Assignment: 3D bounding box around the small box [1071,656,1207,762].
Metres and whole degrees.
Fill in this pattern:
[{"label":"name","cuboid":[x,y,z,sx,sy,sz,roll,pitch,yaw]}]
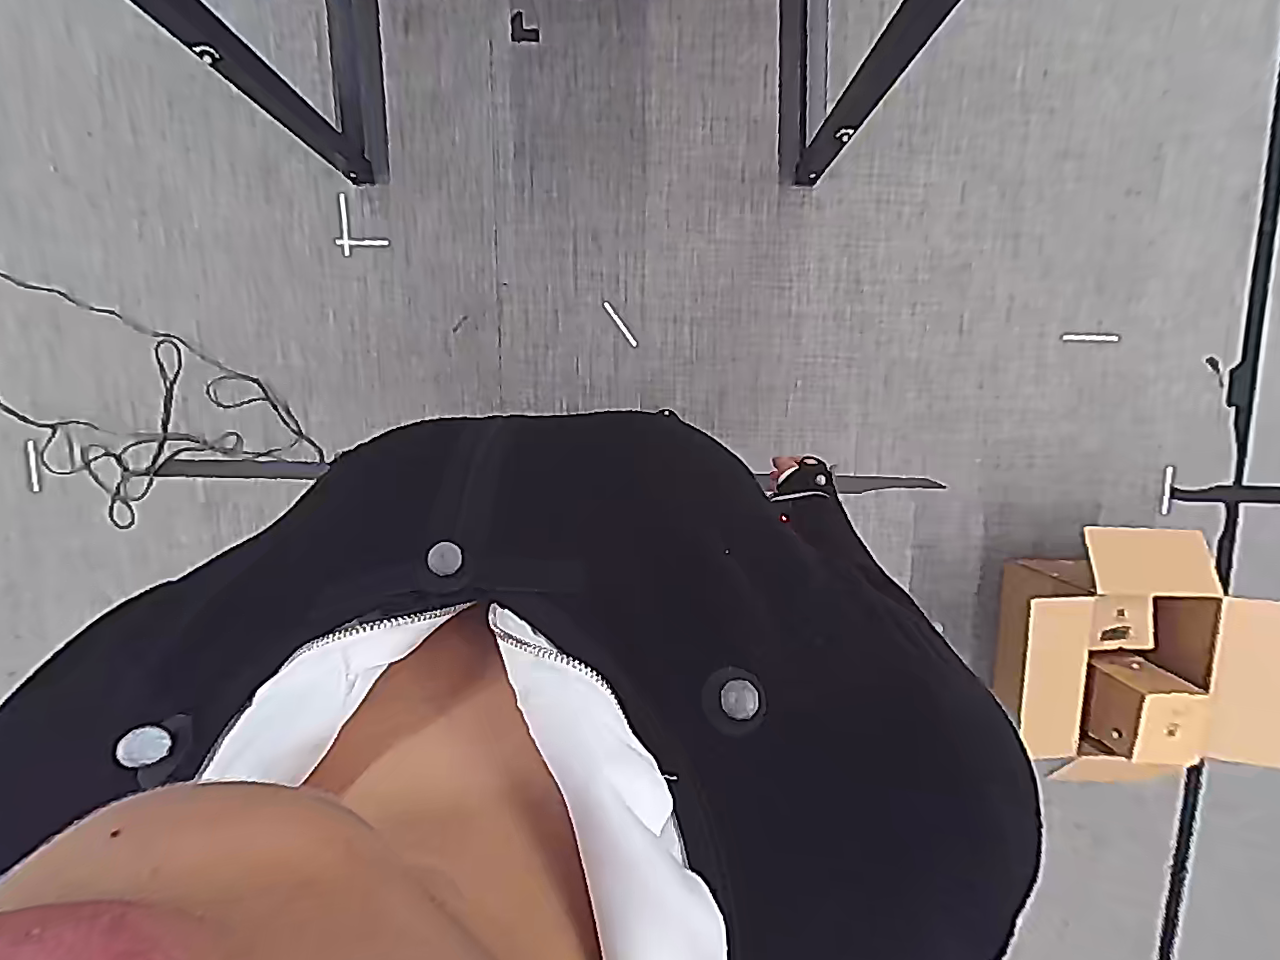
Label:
[{"label":"small box","cuboid":[1.203,0.554,1.319,0.168,0.176,0.179,2,98,-3]}]
